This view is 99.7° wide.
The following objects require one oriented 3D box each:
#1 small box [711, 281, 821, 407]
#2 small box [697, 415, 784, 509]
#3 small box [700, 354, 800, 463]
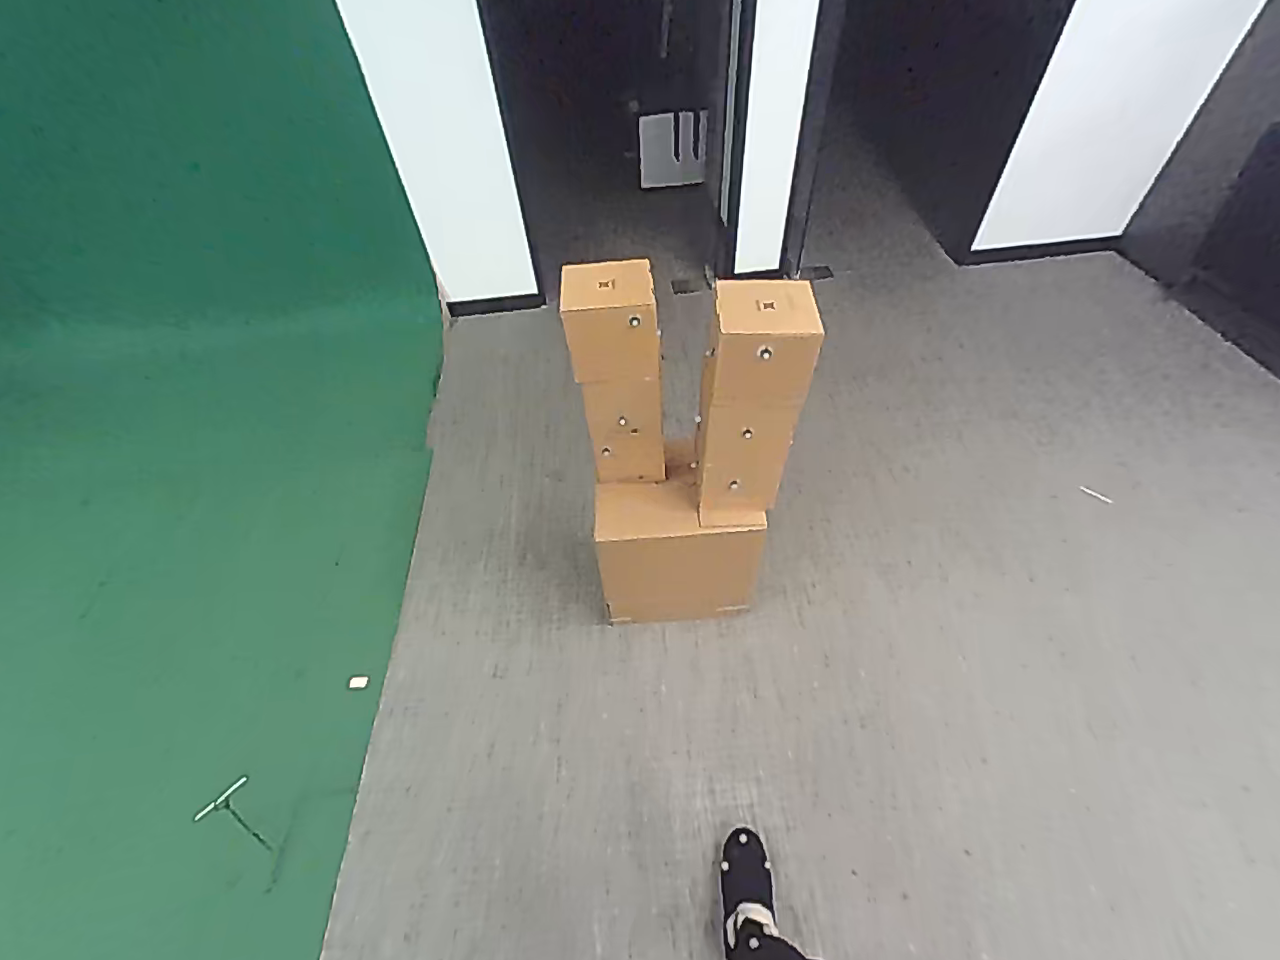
[{"bbox_3d":[0.223,-0.251,1.012,0.179,0.176,0.168,1,51,3],"label":"small box"},{"bbox_3d":[0.227,-0.044,1.264,0.179,0.176,0.168,-3,52,2],"label":"small box"},{"bbox_3d":[0.222,-0.150,1.140,0.179,0.176,0.168,-2,50,2],"label":"small box"}]
